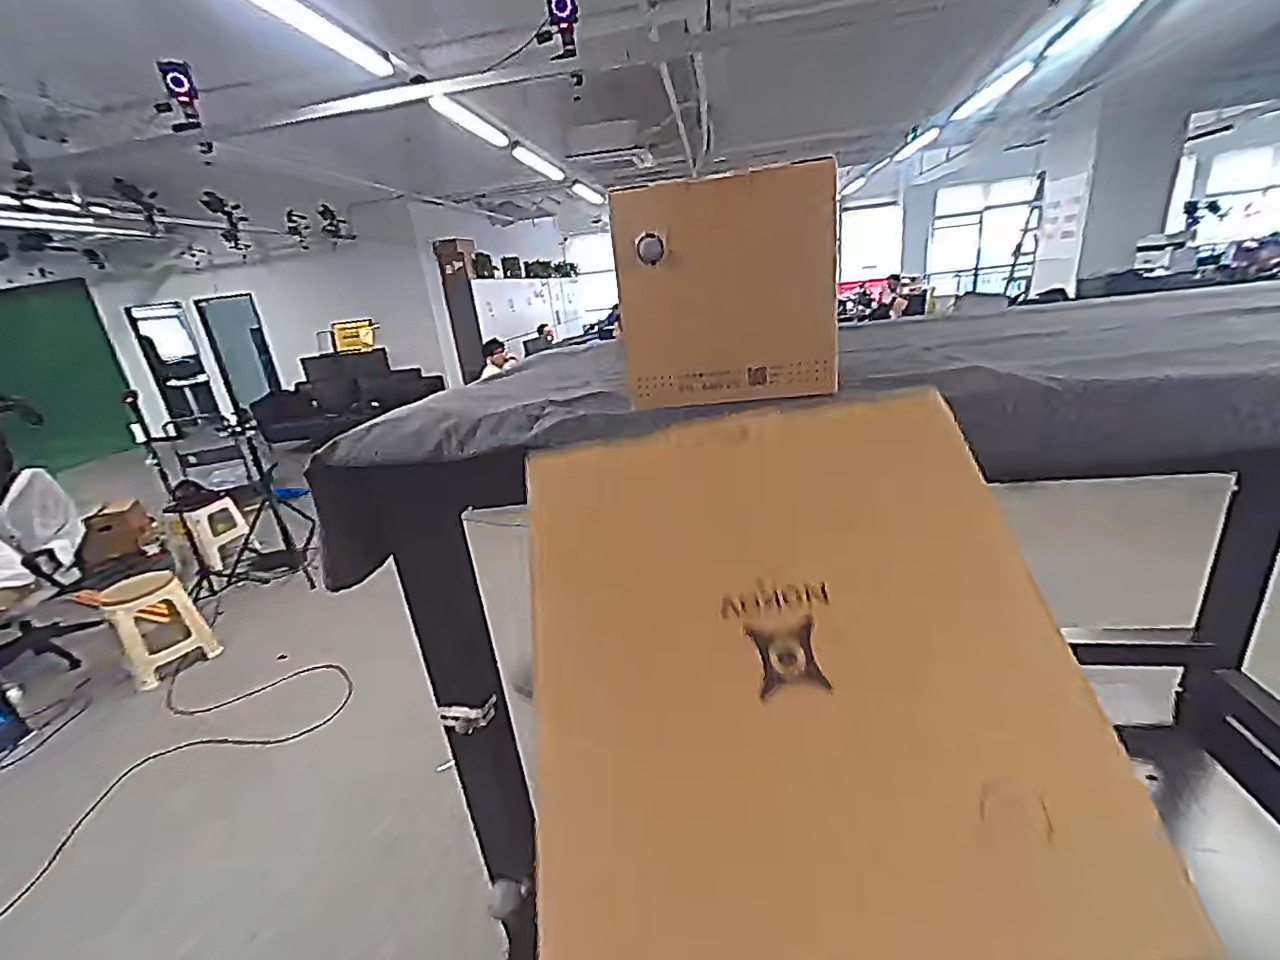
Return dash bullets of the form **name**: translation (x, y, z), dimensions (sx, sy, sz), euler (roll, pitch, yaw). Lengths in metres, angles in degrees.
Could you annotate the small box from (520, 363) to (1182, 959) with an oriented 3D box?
- **small box**: translation (0.051, 0.080, 0.243), dimensions (0.168, 0.176, 0.179), euler (-9, 60, 1)
